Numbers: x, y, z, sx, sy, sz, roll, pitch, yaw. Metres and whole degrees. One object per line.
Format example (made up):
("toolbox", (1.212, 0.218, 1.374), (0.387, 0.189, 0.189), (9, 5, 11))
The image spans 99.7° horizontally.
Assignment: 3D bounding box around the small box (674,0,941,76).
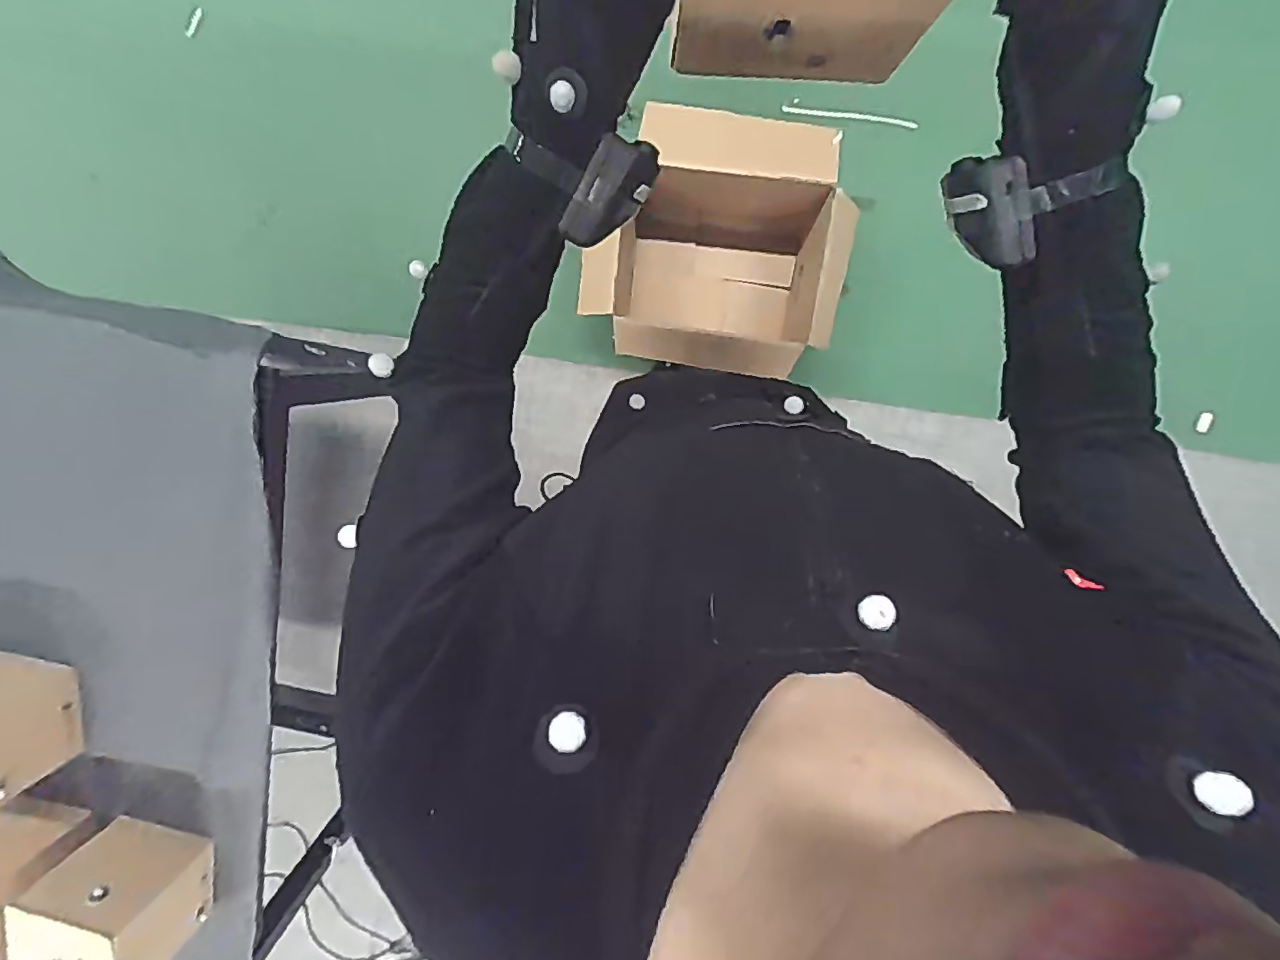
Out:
("small box", (0.109, -0.380, 0.315), (0.168, 0.176, 0.179), (1, 102, -1))
